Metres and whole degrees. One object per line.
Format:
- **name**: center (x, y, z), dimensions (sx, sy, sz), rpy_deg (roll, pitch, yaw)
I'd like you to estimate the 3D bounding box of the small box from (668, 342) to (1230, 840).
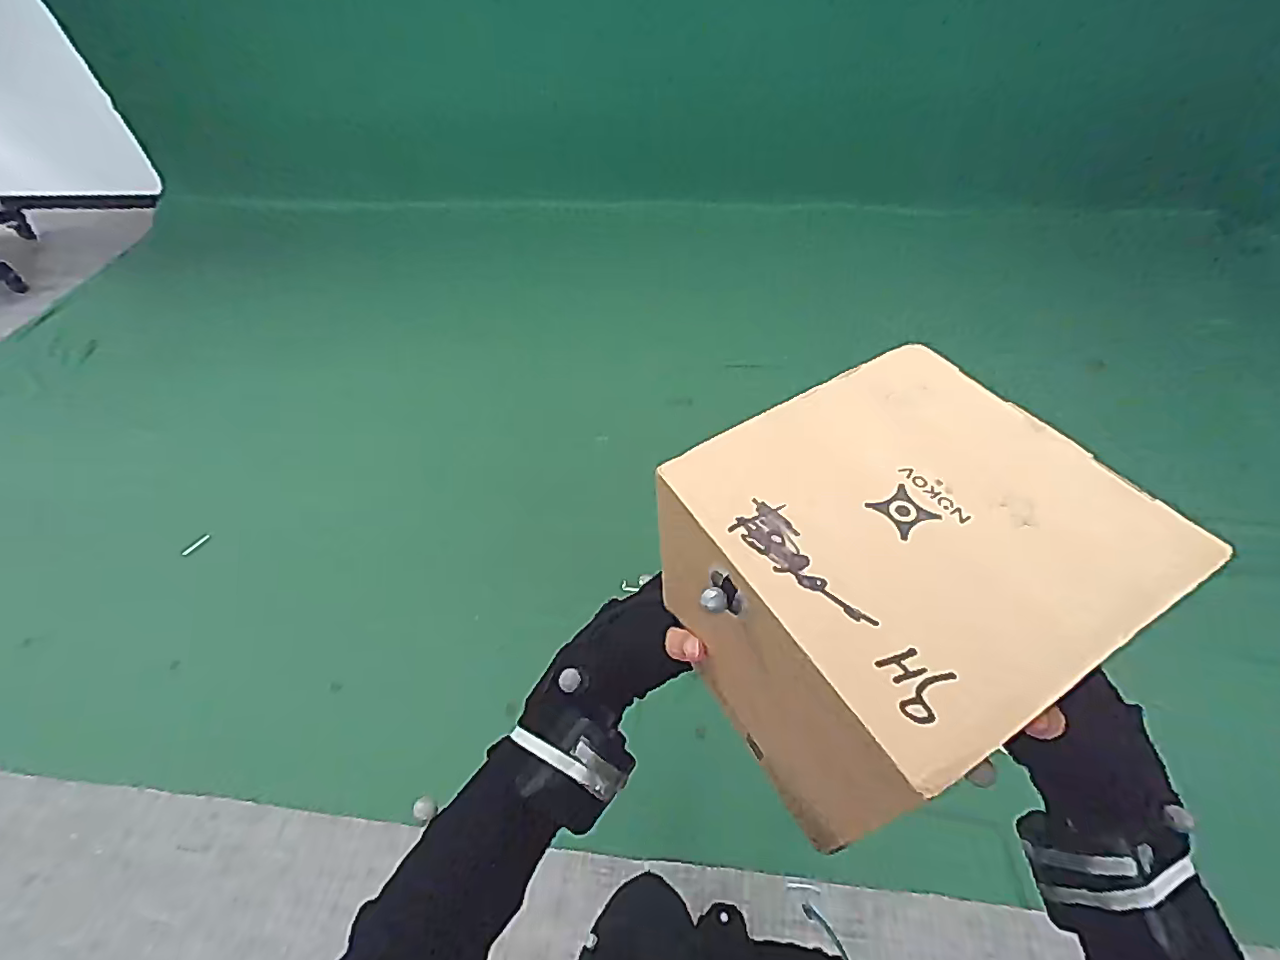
- **small box**: center (0.126, 0.059, 0.297), dimensions (0.179, 0.176, 0.168), rpy_deg (-25, 53, -17)
